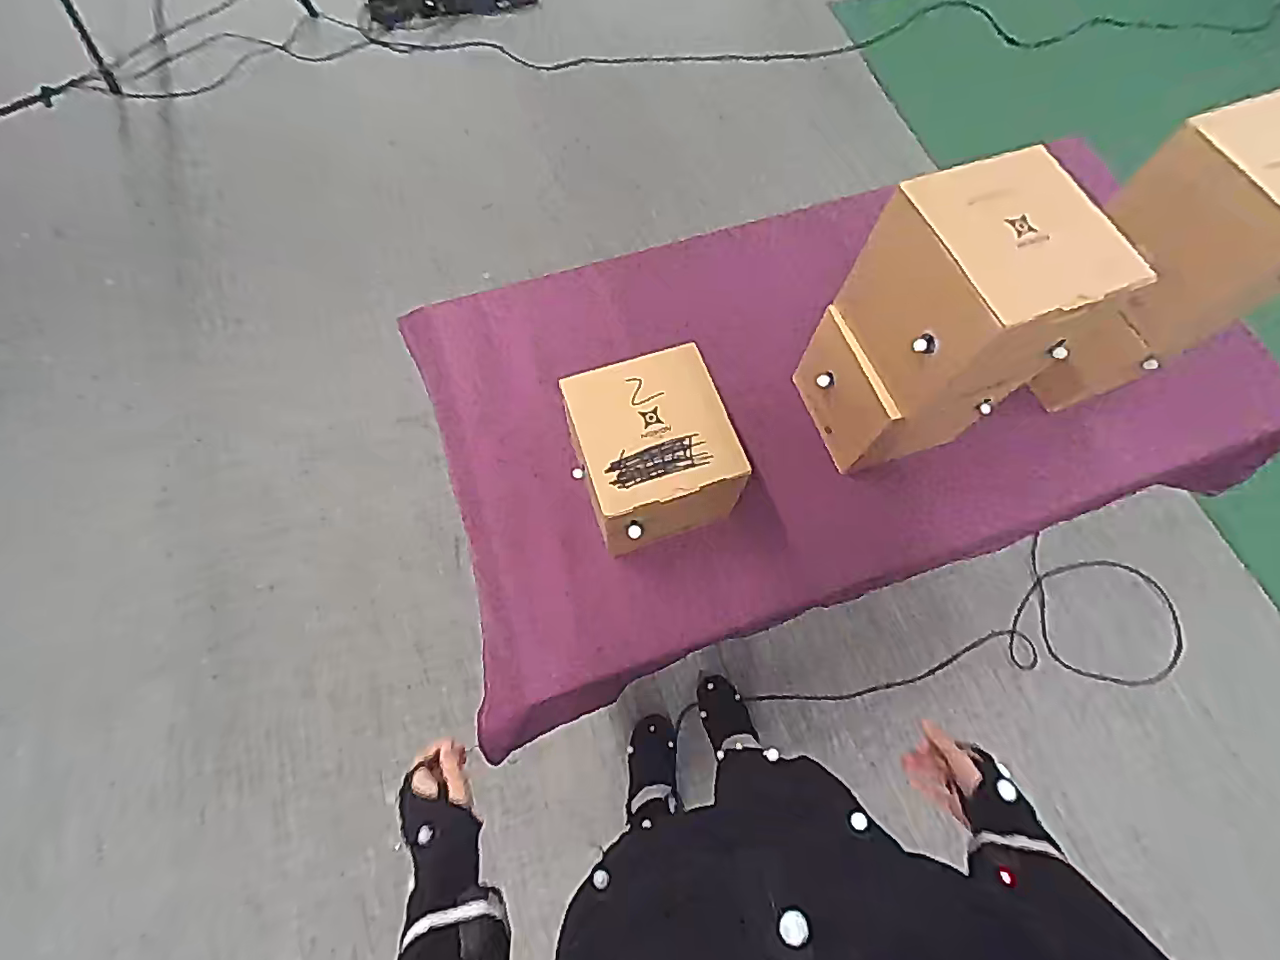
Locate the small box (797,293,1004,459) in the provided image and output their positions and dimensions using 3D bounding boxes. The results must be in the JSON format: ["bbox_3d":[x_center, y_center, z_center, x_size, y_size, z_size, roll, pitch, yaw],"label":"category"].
[{"bbox_3d":[0.326,-0.147,0.715,0.179,0.176,0.168,-17,70,-8],"label":"small box"}]

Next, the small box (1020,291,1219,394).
[{"bbox_3d":[0.636,-0.245,0.751,0.179,0.176,0.168,-21,71,-8],"label":"small box"}]

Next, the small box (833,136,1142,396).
[{"bbox_3d":[0.334,-0.208,0.564,0.168,0.176,0.179,-18,70,-9],"label":"small box"}]

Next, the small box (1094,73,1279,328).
[{"bbox_3d":[0.638,-0.300,0.596,0.179,0.176,0.168,-20,70,-7],"label":"small box"}]
